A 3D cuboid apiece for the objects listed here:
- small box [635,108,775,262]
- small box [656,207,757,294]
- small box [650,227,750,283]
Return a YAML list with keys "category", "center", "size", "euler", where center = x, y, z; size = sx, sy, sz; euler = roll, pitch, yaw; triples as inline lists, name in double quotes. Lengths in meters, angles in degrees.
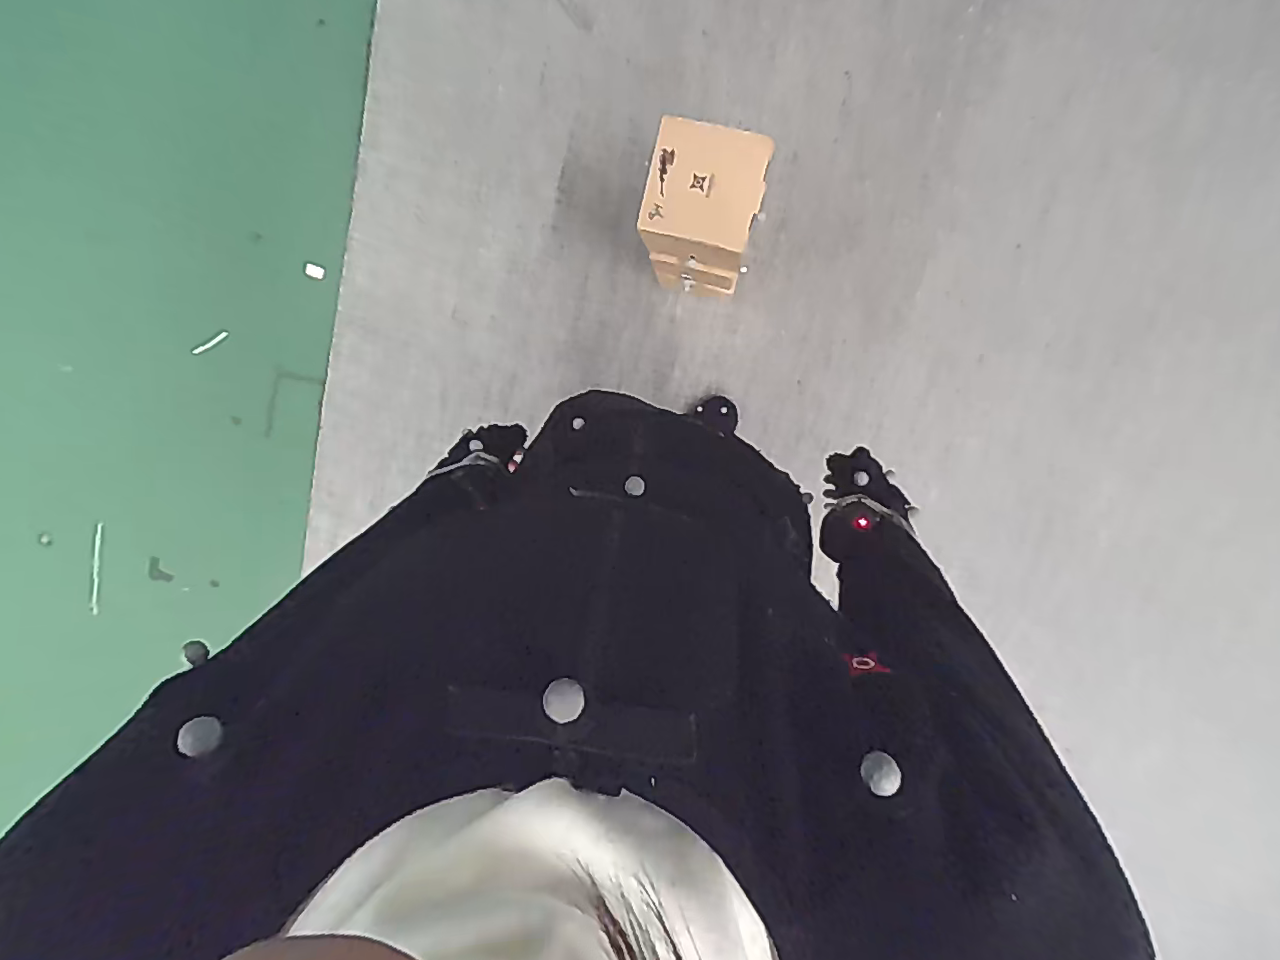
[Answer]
- category: "small box"
  center: [0.106, -0.472, 0.894]
  size: [0.179, 0.176, 0.168]
  euler: [17, 104, 5]
- category: "small box"
  center: [0.147, -0.527, 1.212]
  size: [0.179, 0.176, 0.168]
  euler: [17, 104, 3]
- category: "small box"
  center: [0.128, -0.501, 1.054]
  size: [0.168, 0.176, 0.179]
  euler: [16, 105, 5]
